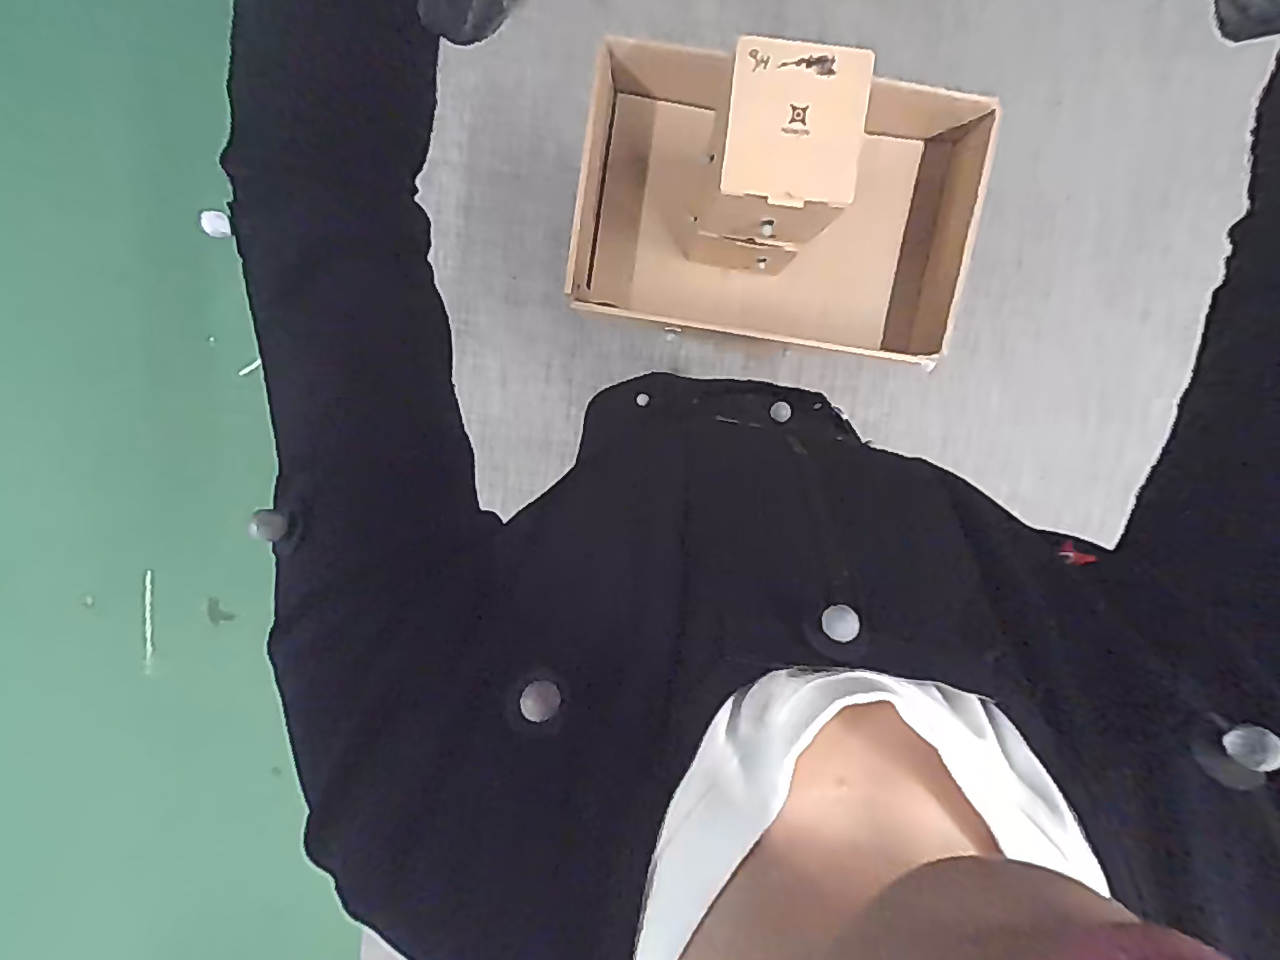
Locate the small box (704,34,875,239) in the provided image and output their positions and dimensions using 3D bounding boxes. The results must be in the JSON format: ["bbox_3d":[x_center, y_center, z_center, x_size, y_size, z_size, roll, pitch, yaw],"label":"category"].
[{"bbox_3d":[0.184,-0.438,0.723,0.168,0.176,0.179,6,100,-2],"label":"small box"}]

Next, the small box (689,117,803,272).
[{"bbox_3d":[0.178,-0.457,0.886,0.168,0.176,0.179,9,97,-3],"label":"small box"}]
